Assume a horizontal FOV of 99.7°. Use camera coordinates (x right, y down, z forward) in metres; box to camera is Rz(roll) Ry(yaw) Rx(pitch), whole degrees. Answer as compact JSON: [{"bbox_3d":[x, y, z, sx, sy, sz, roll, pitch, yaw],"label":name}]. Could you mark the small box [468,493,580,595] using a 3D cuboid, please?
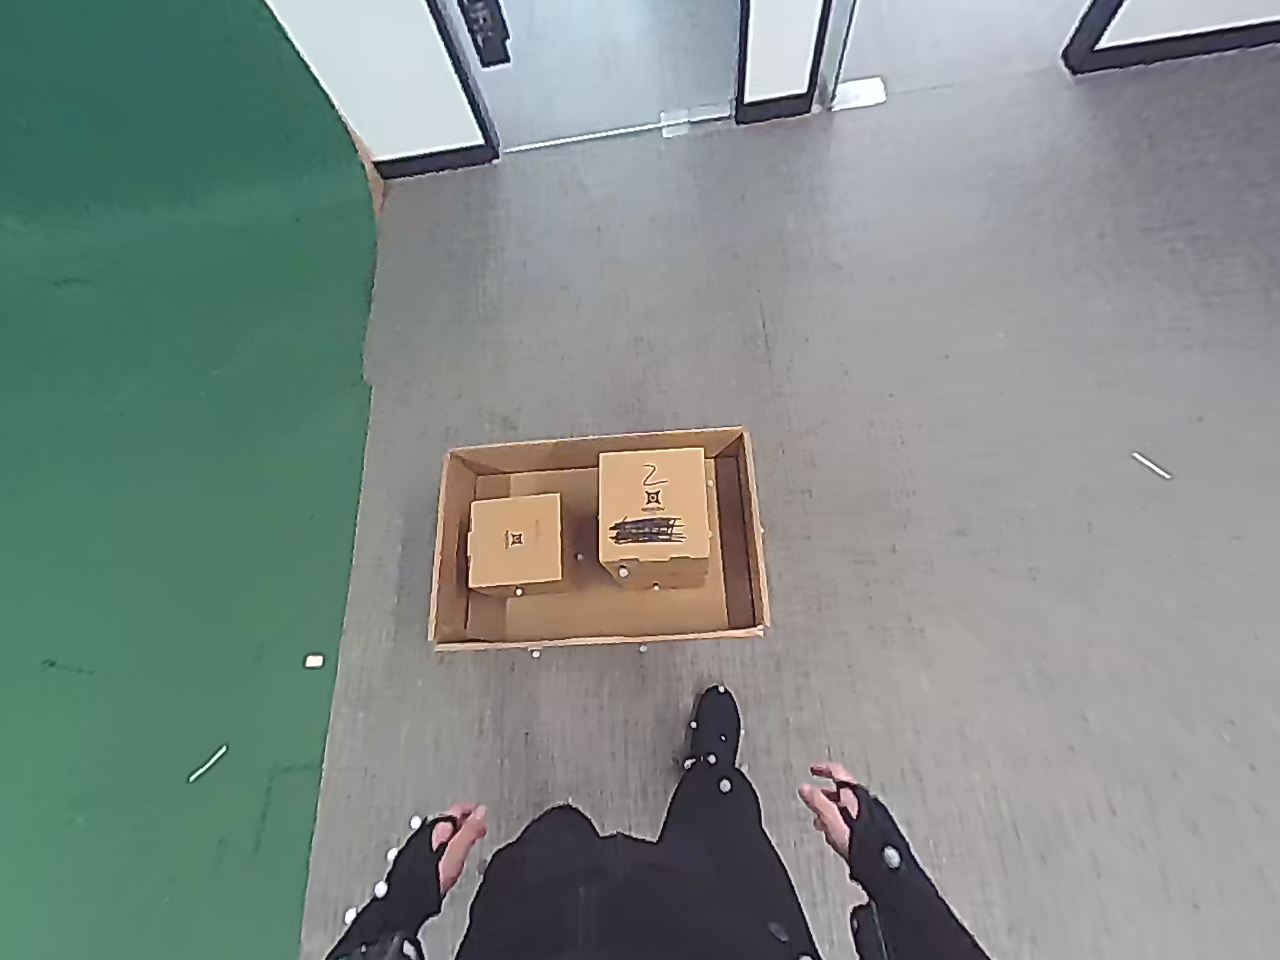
[{"bbox_3d":[-0.221,0.133,1.072,0.179,0.176,0.168,-4,71,4],"label":"small box"}]
